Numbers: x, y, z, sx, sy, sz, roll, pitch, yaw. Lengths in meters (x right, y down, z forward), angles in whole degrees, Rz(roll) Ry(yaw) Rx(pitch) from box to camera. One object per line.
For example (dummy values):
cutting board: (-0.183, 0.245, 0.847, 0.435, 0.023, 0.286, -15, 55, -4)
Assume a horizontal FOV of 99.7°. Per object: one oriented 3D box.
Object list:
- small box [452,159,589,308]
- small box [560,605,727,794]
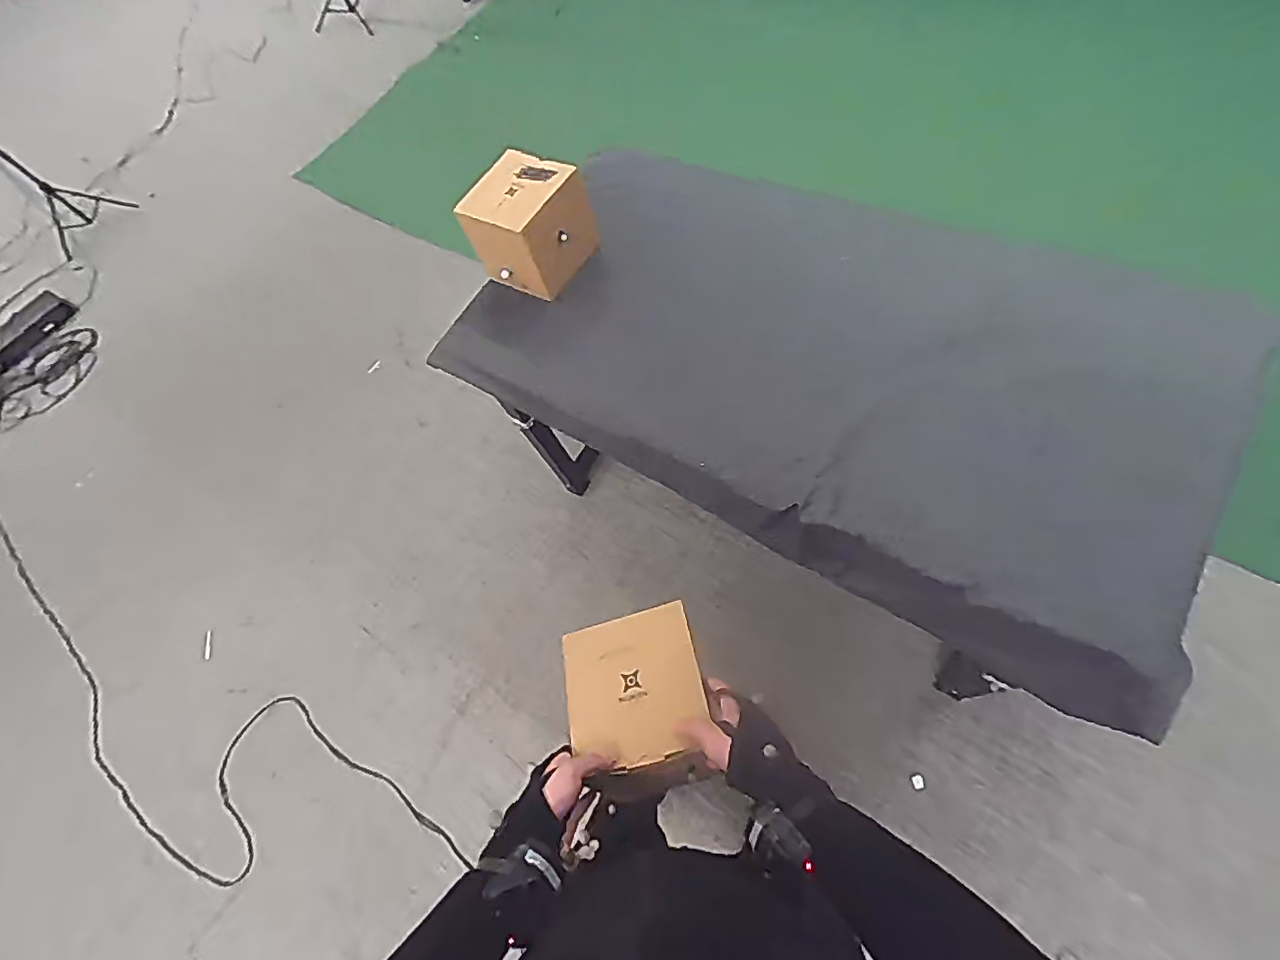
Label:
small box: (-0.215, -0.469, 1.039, 0.168, 0.176, 0.179, 27, 73, 21)
small box: (0.007, 0.296, 0.712, 0.168, 0.176, 0.179, -17, 49, 5)
